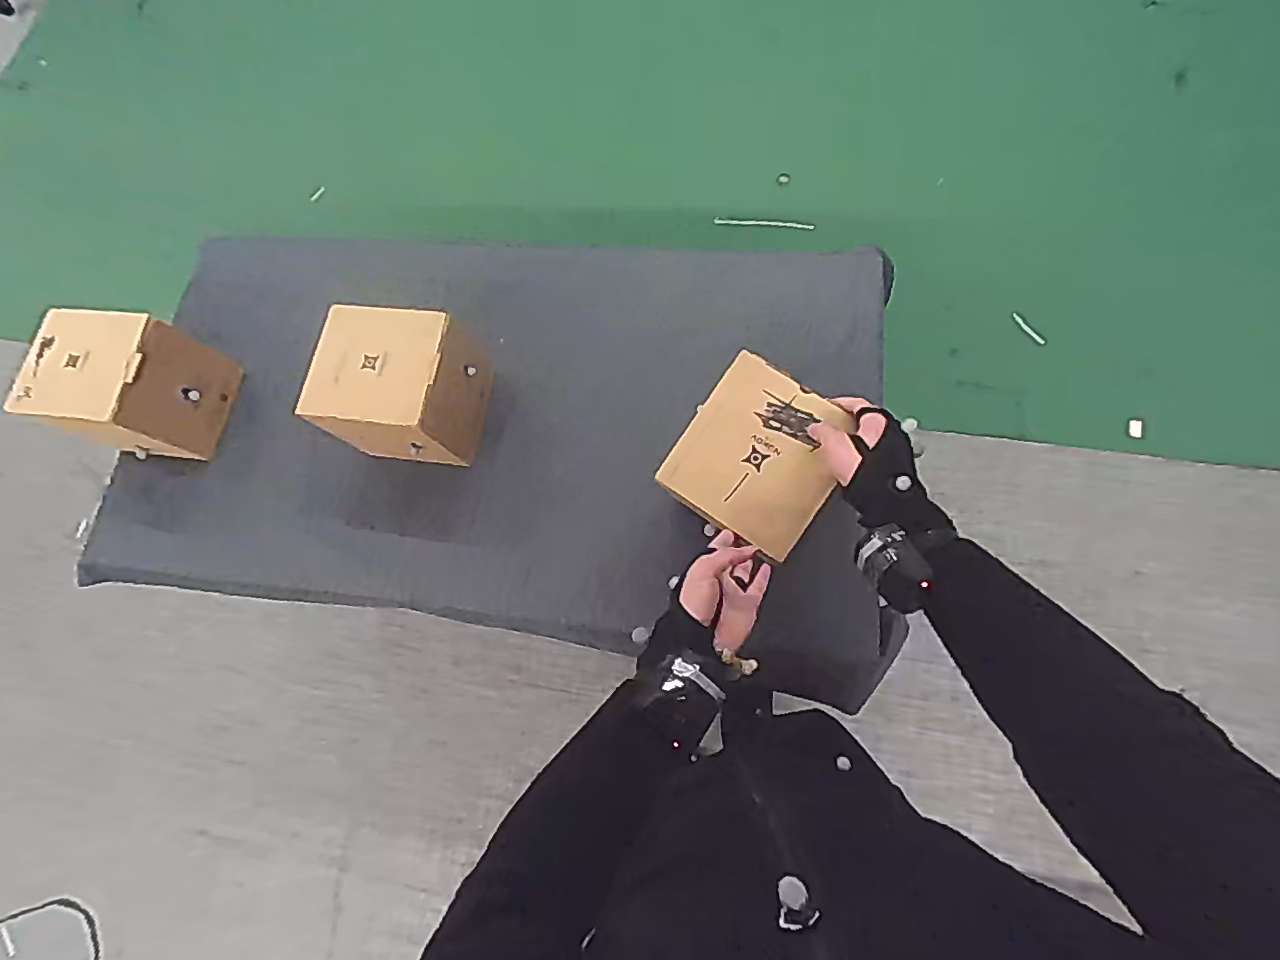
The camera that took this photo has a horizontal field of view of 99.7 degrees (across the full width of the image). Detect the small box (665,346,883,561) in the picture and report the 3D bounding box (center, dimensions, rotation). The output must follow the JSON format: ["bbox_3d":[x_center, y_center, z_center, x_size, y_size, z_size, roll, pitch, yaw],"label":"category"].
[{"bbox_3d":[0.149,-0.021,0.646,0.168,0.176,0.179,35,88,13],"label":"small box"}]

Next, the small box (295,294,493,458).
[{"bbox_3d":[-0.330,-0.138,0.766,0.179,0.176,0.168,7,73,9],"label":"small box"}]

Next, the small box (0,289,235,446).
[{"bbox_3d":[-0.766,-0.159,0.811,0.179,0.176,0.168,7,74,6],"label":"small box"}]
